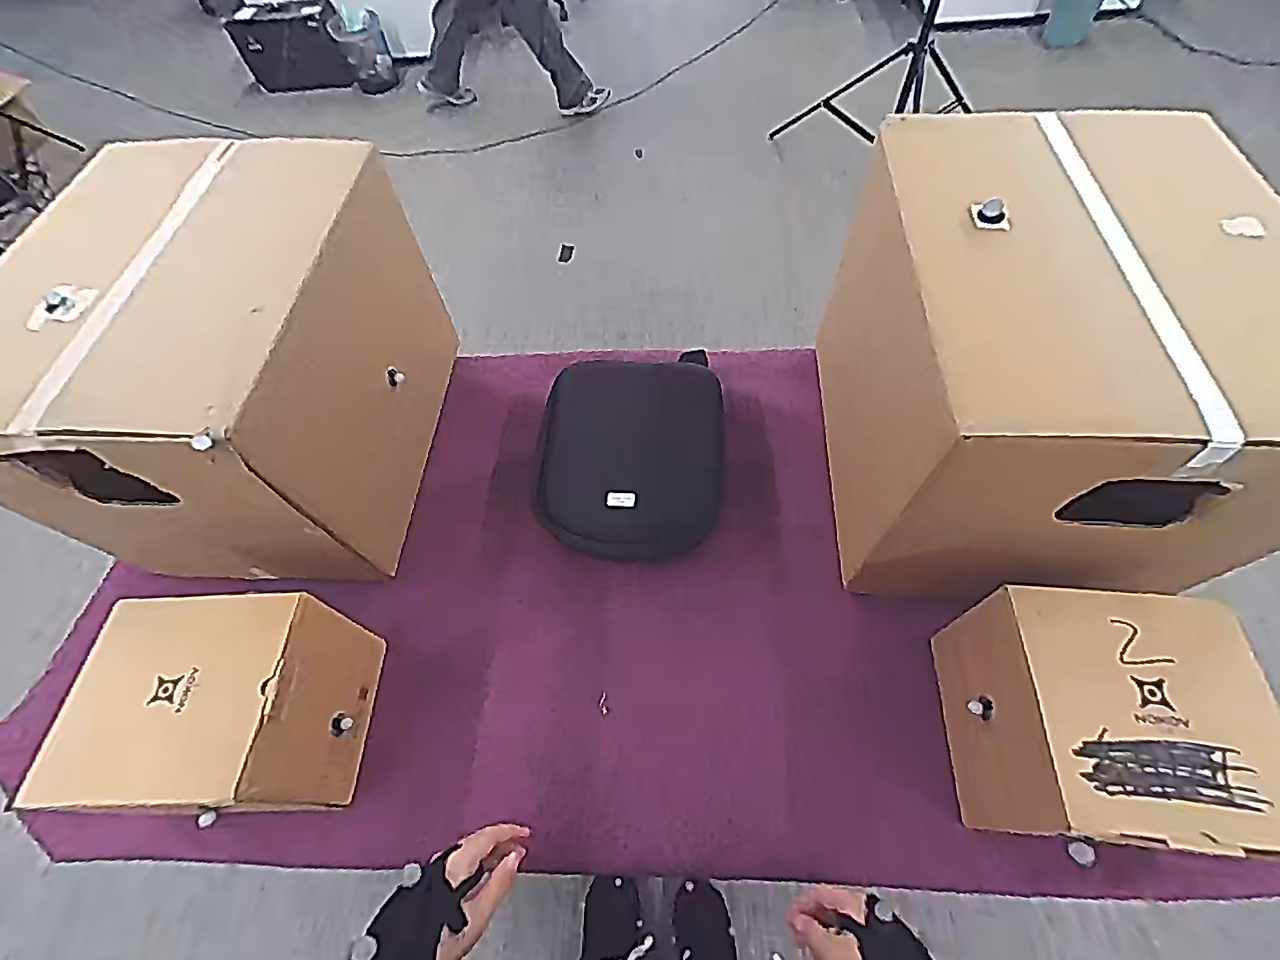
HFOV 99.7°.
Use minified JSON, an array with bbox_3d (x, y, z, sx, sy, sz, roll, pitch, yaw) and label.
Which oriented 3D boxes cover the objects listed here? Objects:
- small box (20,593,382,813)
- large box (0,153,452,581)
[{"bbox_3d":[-0.385,0.219,0.518,0.179,0.176,0.168,-3,57,1],"label":"small box"},{"bbox_3d":[-0.451,-0.120,0.646,0.320,0.320,0.408,0,61,2],"label":"large box"}]
